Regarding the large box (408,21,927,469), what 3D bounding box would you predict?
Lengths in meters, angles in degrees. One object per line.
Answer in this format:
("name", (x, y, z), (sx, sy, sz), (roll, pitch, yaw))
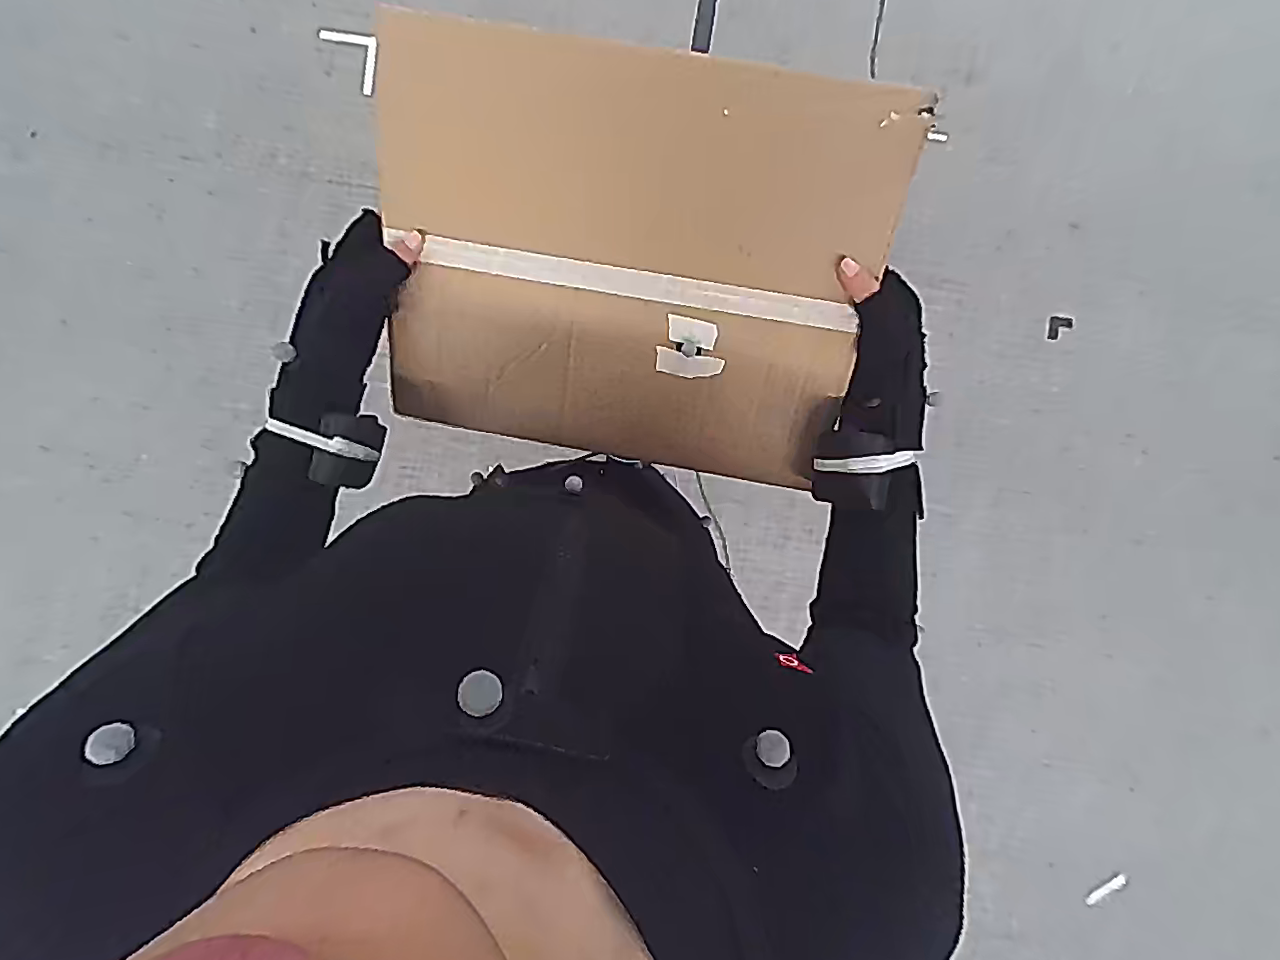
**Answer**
("large box", (0.011, -0.241, 0.601), (0.408, 0.320, 0.320), (11, 116, 3))
